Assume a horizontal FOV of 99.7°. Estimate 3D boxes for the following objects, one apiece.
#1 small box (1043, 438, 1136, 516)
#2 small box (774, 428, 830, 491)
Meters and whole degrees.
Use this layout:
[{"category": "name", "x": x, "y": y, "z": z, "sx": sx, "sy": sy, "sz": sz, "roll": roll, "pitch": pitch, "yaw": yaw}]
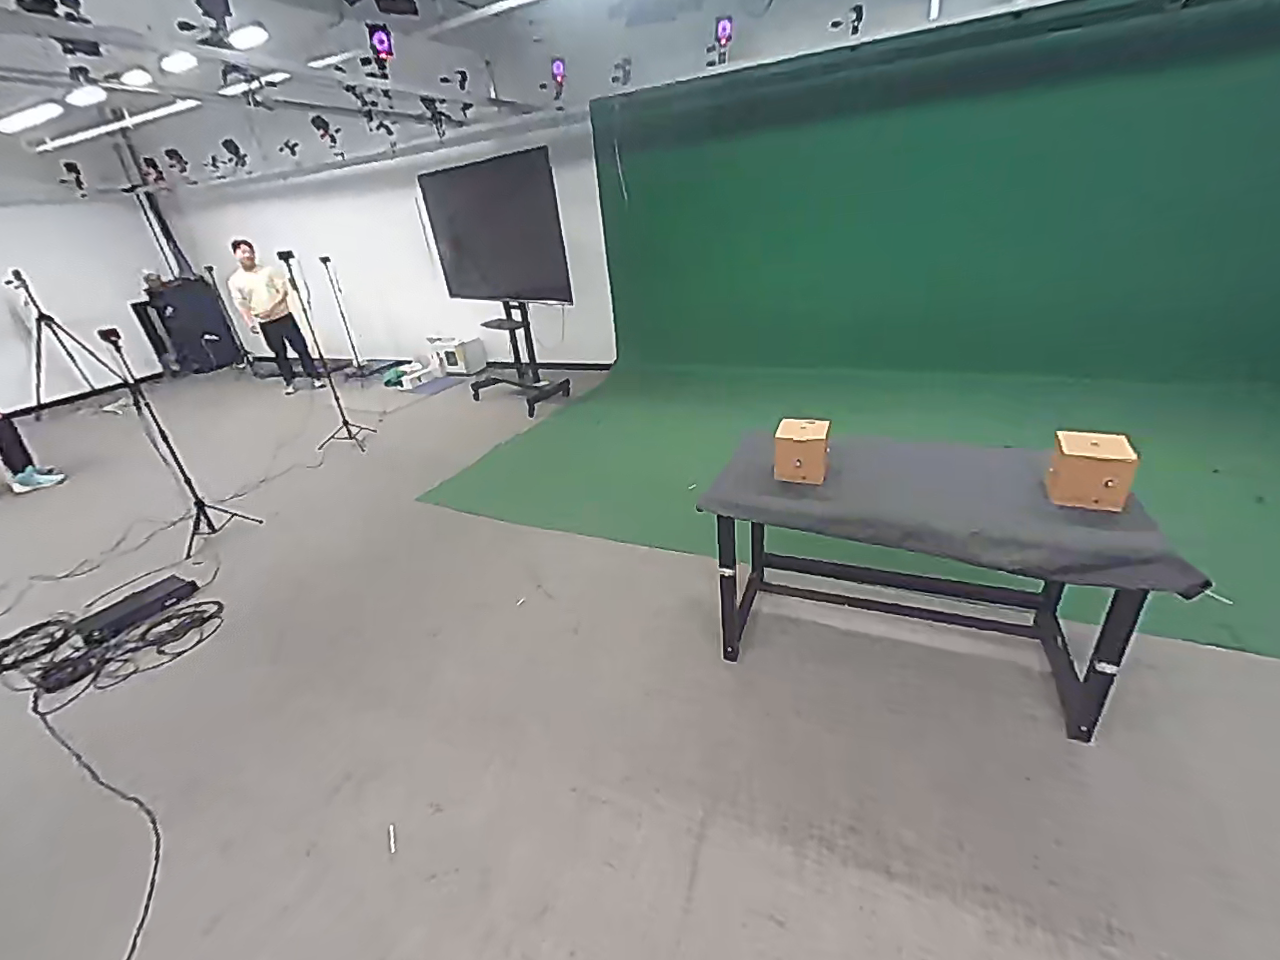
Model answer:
[{"category": "small box", "x": 1.315, "y": -0.009, "z": 1.593, "sx": 0.168, "sy": 0.176, "sz": 0.179, "roll": 8, "pitch": 28, "yaw": 26}, {"category": "small box", "x": 0.573, "y": -0.074, "z": 1.907, "sx": 0.168, "sy": 0.176, "sz": 0.179, "roll": 6, "pitch": 29, "yaw": 22}]
